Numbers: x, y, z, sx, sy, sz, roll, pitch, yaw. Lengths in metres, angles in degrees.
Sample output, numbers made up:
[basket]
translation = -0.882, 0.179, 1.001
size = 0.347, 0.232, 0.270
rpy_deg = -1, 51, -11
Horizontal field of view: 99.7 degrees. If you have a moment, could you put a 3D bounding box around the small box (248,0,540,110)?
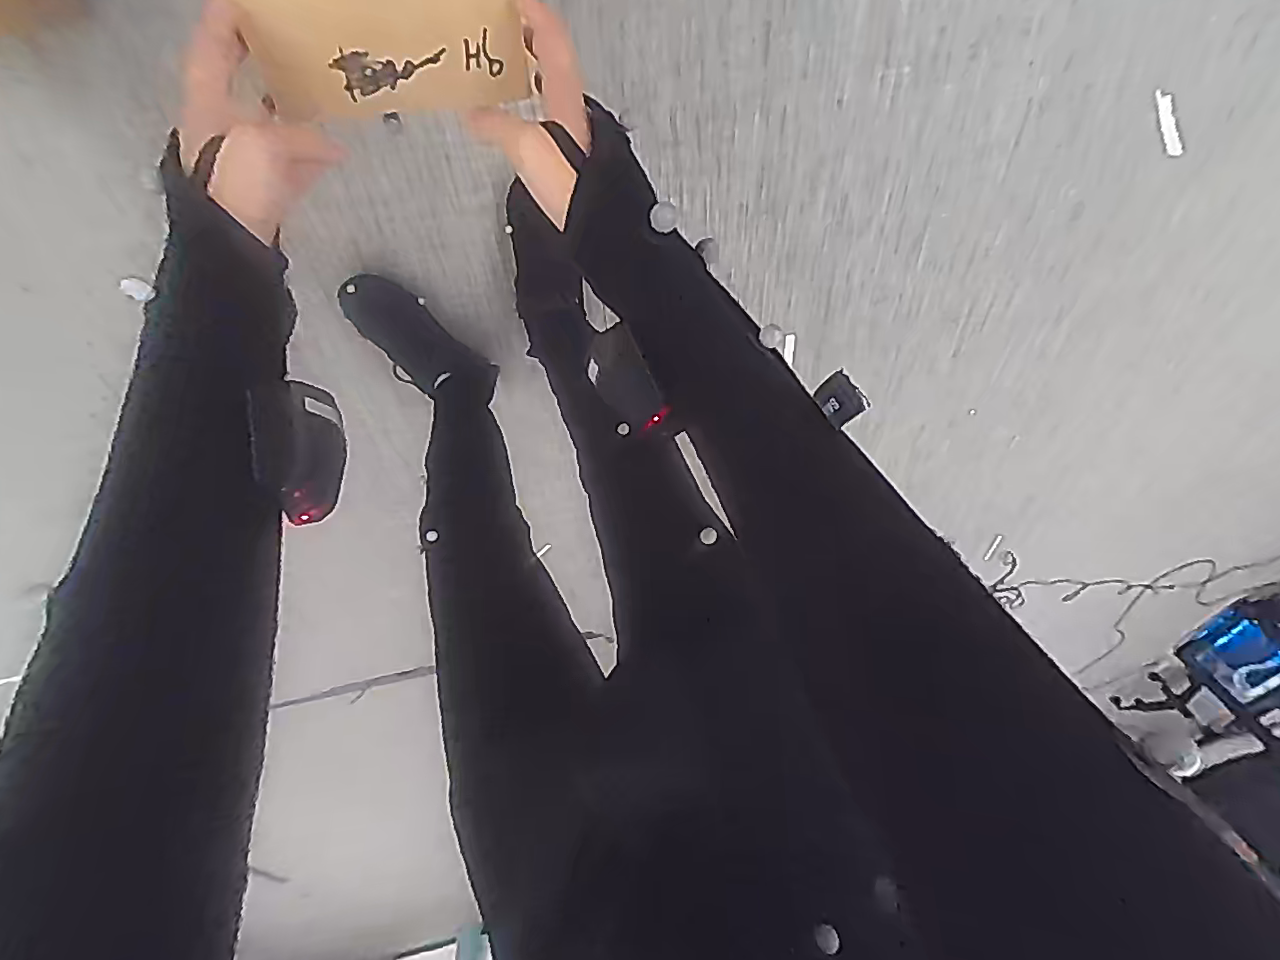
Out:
[small box]
translation = -0.168, -0.371, 0.363
size = 0.168, 0.176, 0.179
rpy_deg = -10, 134, -6
